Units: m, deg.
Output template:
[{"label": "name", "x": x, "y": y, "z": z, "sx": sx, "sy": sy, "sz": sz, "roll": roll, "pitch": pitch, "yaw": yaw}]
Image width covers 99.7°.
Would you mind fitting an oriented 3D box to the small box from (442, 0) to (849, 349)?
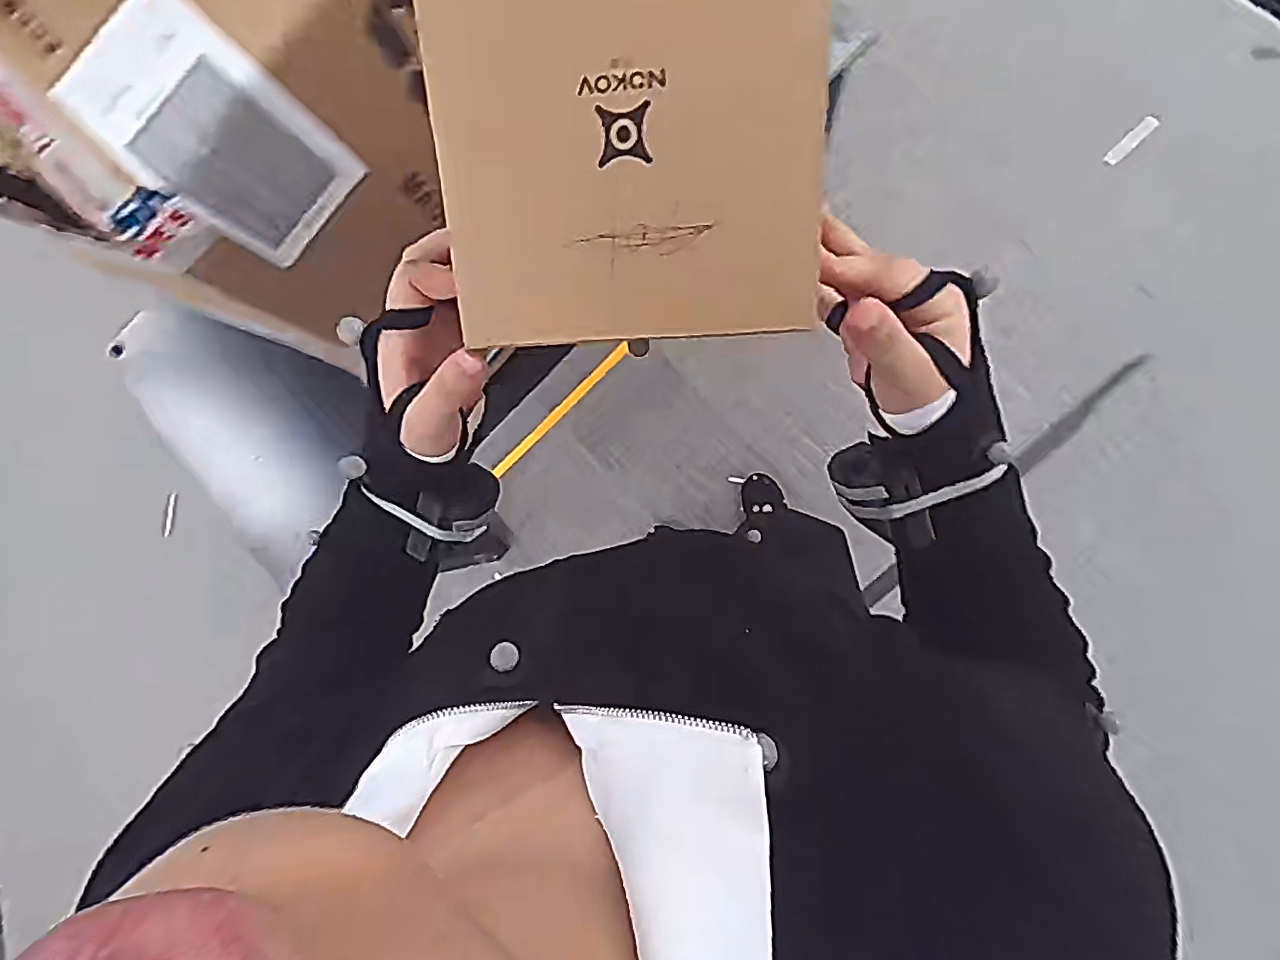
[{"label": "small box", "x": 0.009, "y": -0.170, "z": 0.306, "sx": 0.168, "sy": 0.176, "sz": 0.179, "roll": 0, "pitch": 108, "yaw": 7}]
